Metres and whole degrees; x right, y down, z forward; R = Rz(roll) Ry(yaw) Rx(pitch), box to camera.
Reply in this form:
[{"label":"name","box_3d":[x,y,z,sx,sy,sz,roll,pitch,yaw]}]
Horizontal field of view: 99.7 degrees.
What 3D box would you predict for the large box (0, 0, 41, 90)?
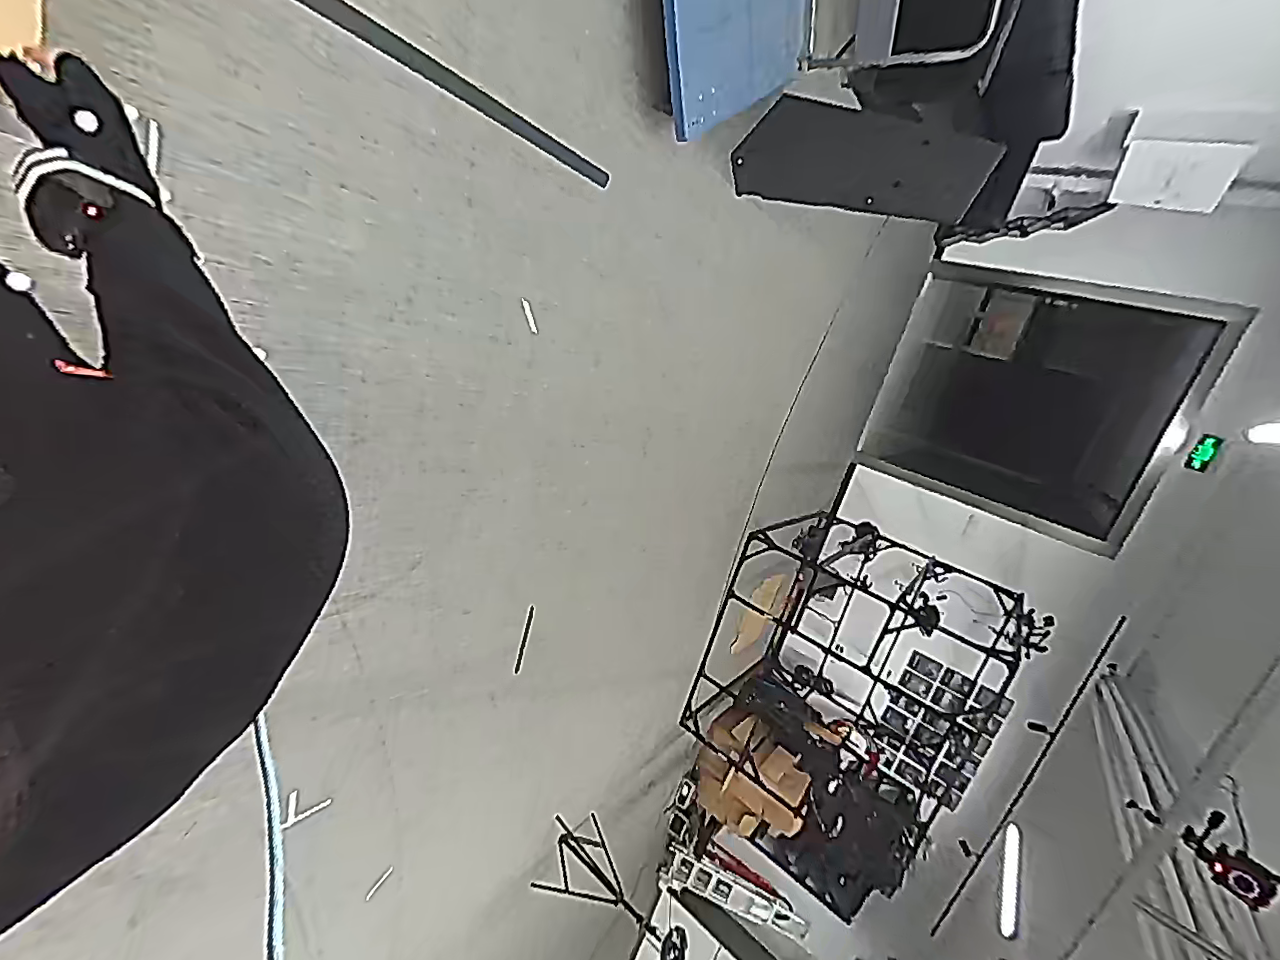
[{"label":"large box","box_3d":[-1.004,-0.708,0.606,0.408,0.320,0.320,-6,118,-56]}]
